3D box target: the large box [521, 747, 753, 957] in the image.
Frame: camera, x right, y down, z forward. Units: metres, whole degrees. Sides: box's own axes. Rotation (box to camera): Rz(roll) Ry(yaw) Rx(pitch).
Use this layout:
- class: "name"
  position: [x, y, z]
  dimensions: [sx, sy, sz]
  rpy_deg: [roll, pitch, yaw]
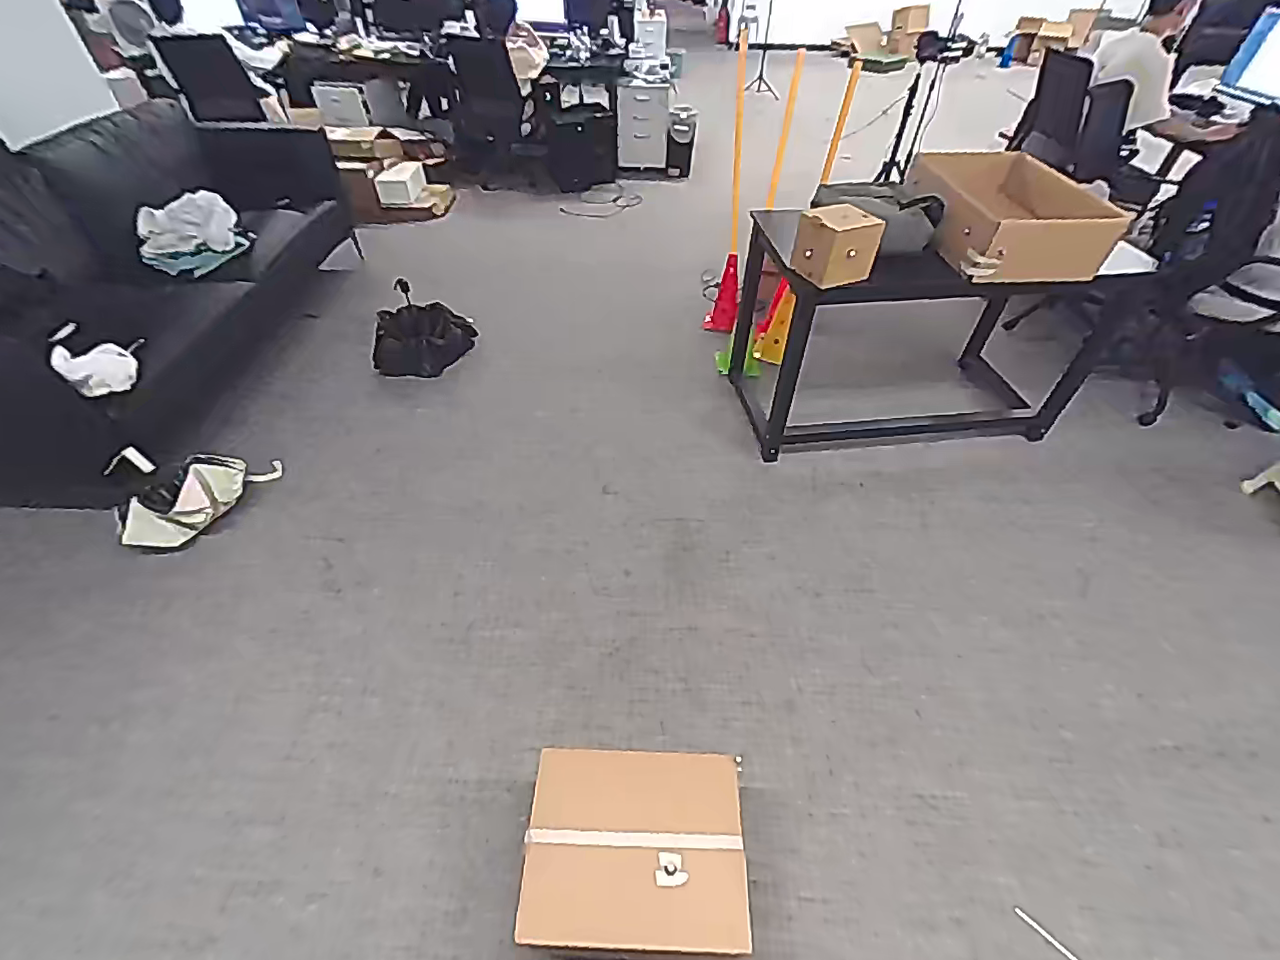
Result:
- class: "large box"
  position: [-0.006, 0.772, 1.121]
  dimensions: [0.408, 0.320, 0.320]
  rpy_deg: [1, 47, 1]
